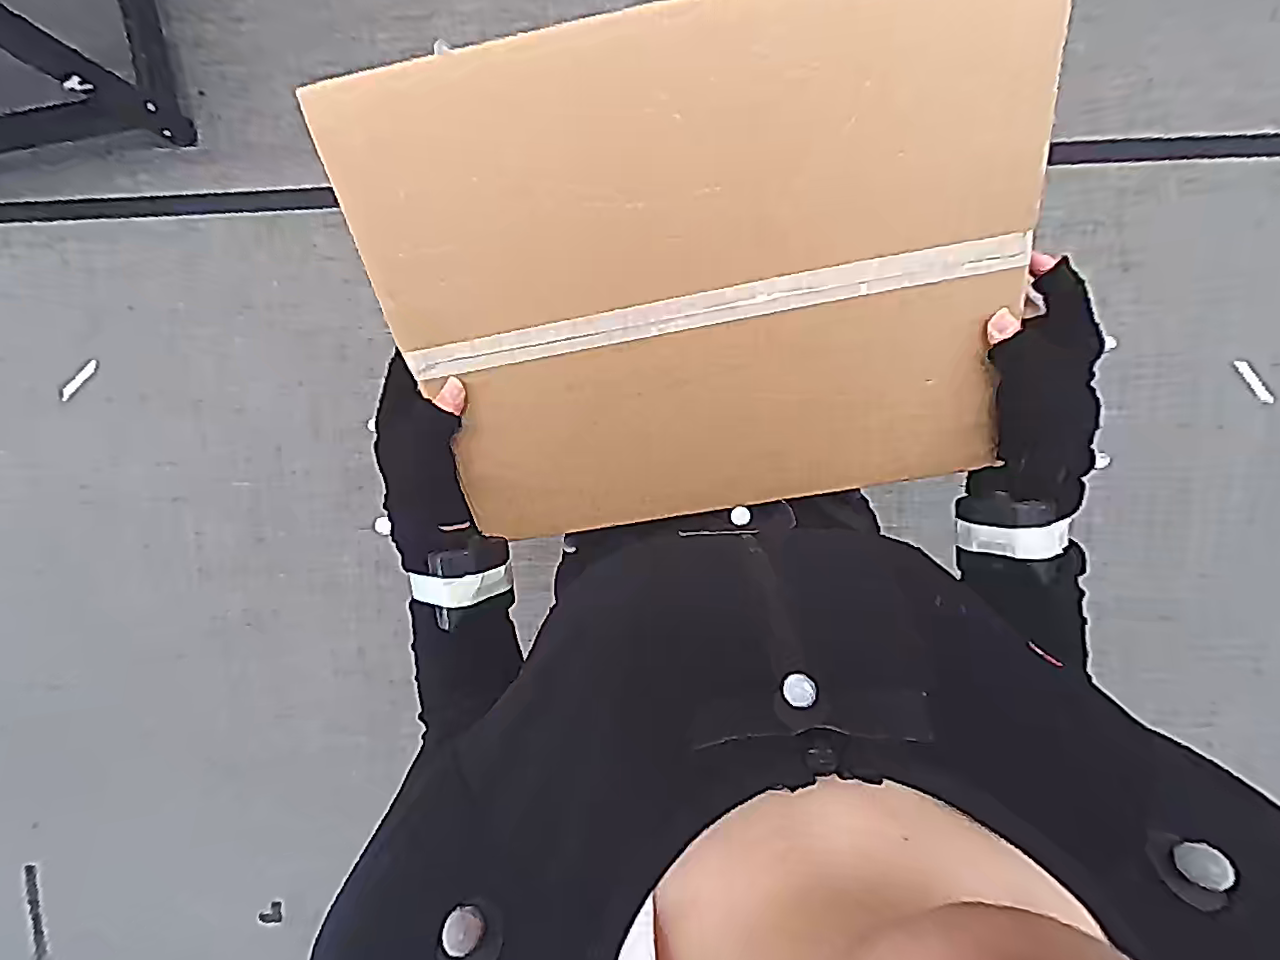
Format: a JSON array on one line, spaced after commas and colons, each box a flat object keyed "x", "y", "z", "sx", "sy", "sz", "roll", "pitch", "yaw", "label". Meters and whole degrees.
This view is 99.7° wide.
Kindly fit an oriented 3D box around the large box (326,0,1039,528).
[{"x": 0.038, "y": -0.195, "z": 0.492, "sx": 0.408, "sy": 0.320, "sz": 0.320, "roll": -9, "pitch": 121, "yaw": 5, "label": "large box"}]
